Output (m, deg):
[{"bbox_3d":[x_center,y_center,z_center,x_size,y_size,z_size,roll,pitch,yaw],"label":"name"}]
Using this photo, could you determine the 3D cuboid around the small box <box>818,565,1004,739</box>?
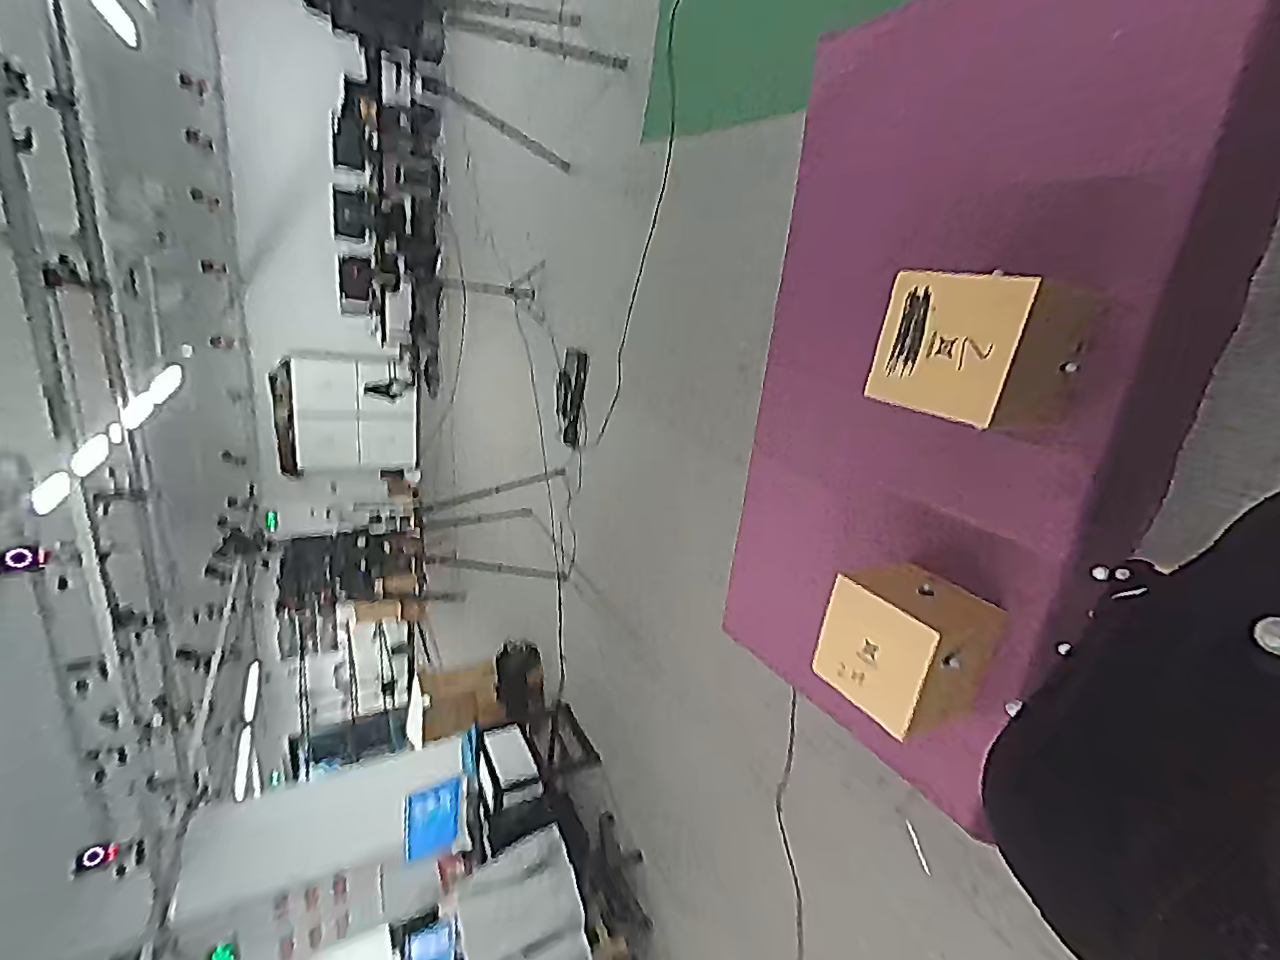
[{"bbox_3d":[0.404,0.243,0.813,0.168,0.176,0.179,35,122,55],"label":"small box"}]
